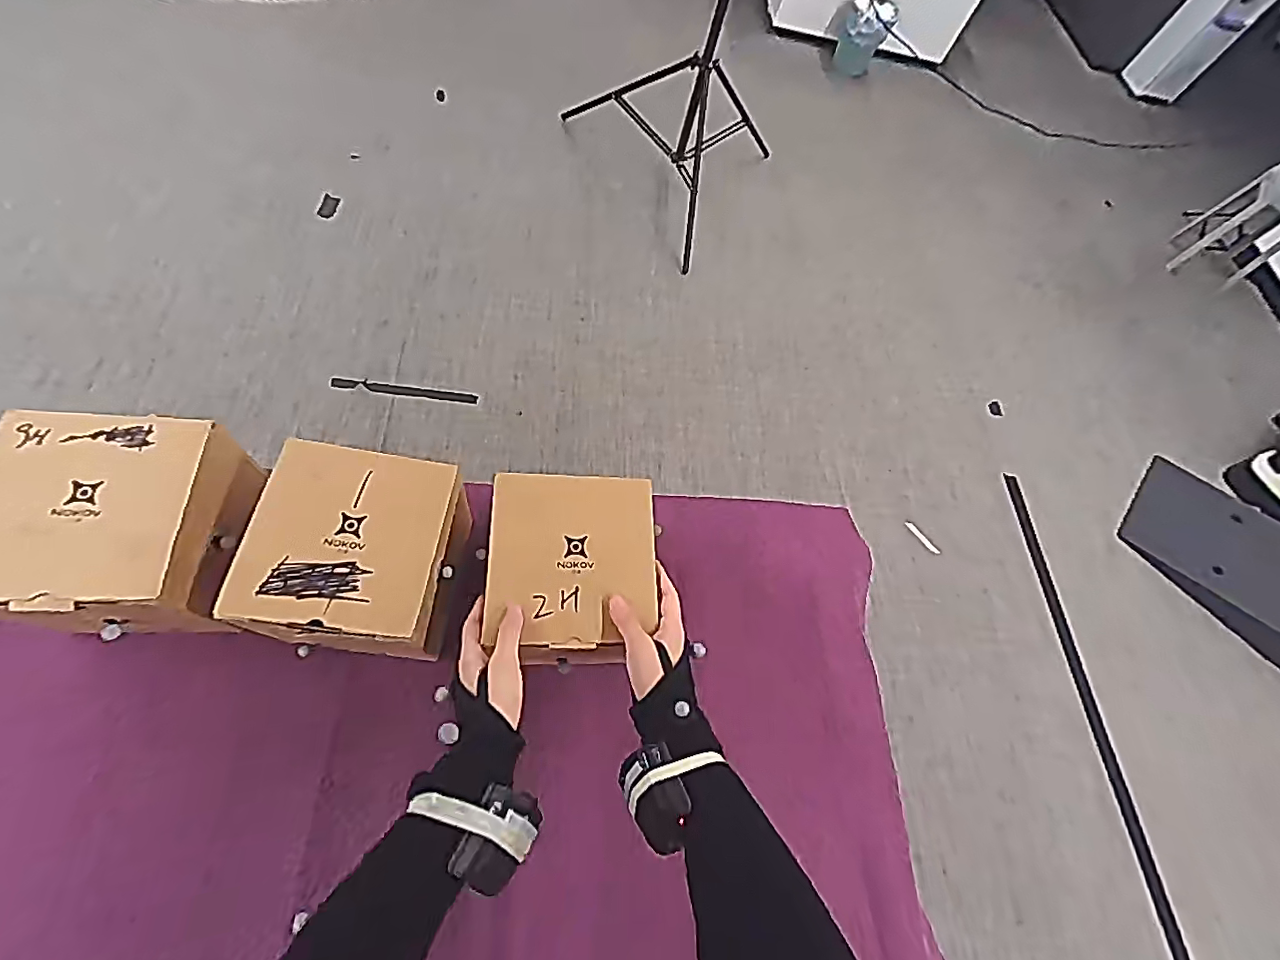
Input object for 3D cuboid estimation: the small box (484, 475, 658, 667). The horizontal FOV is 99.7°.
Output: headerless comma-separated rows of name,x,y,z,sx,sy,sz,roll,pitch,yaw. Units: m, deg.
small box,-0.080,0.110,0.609,0.168,0.176,0.179,3,66,-10
